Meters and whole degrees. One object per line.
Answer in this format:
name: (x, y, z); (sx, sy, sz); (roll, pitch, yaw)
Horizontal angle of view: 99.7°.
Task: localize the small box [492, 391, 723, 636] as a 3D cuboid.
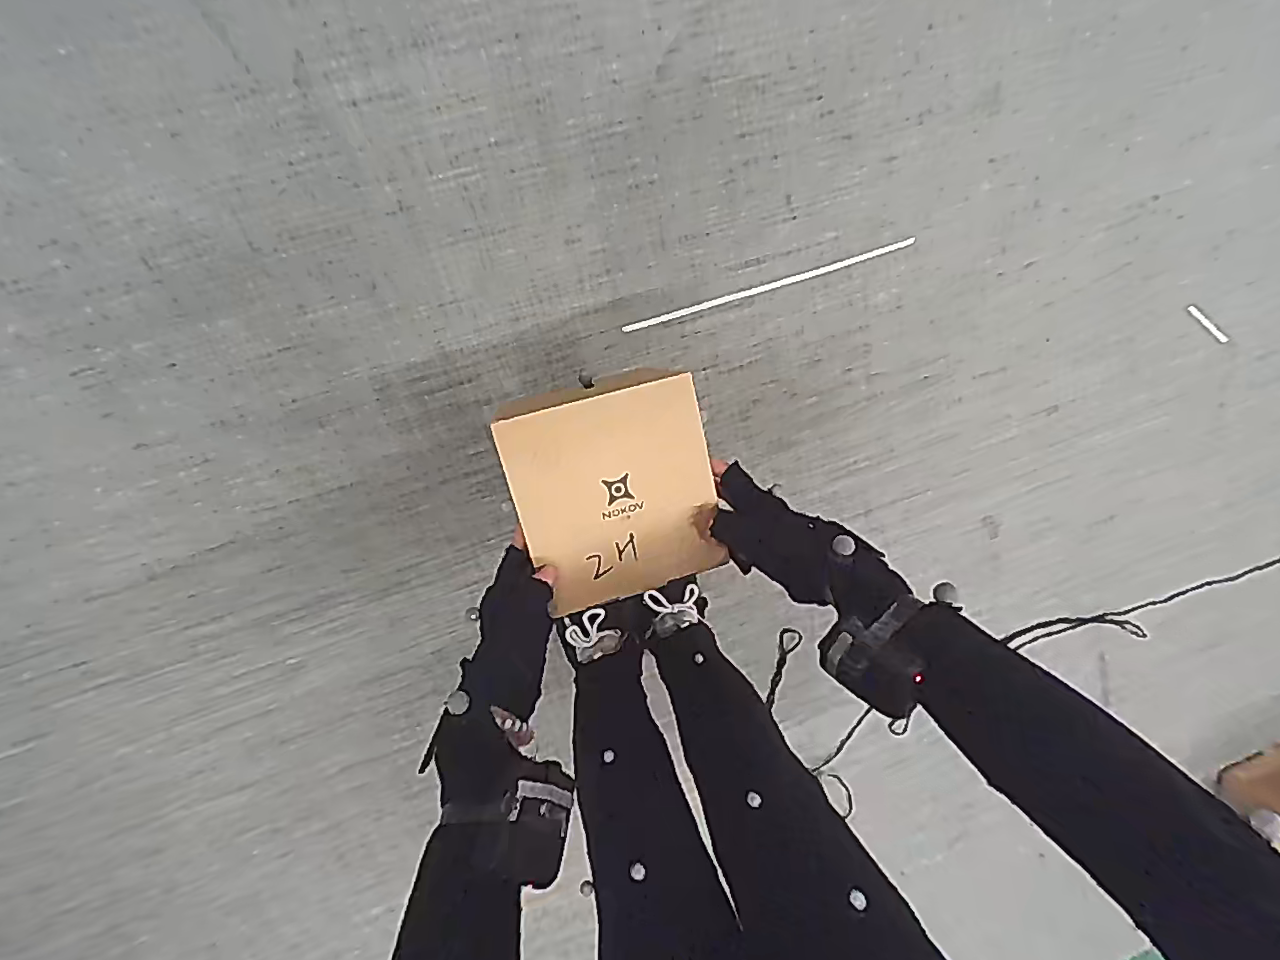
small box: (-0.037, 0.015, 0.520); (0.168, 0.176, 0.179); (-14, 105, -8)
